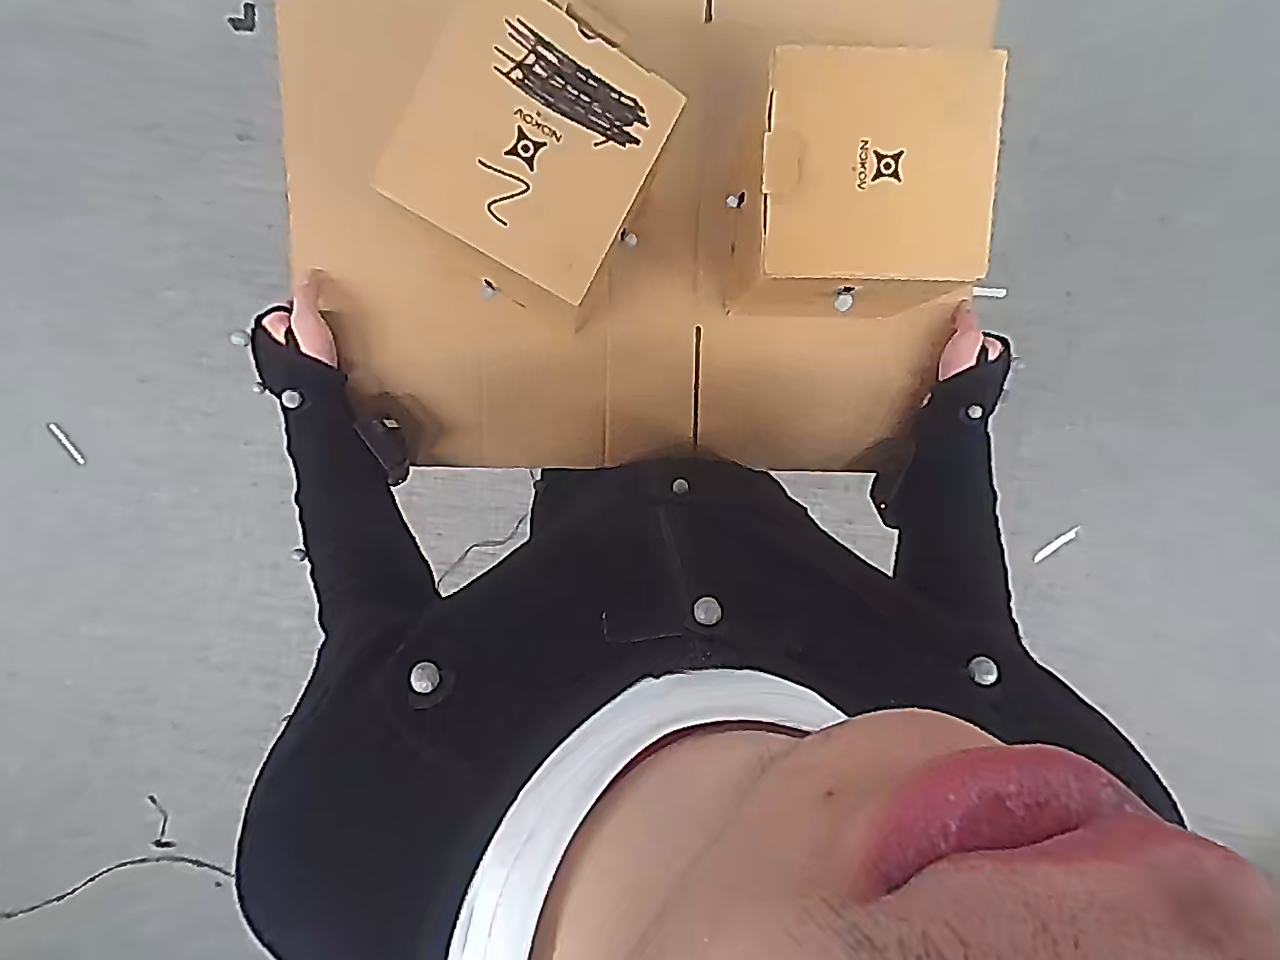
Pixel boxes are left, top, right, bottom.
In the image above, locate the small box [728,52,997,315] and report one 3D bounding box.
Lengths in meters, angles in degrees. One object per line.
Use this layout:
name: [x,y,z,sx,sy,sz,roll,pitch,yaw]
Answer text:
small box: [0.186,-0.254,0.503,0.179,0.176,0.168,1,97,0]
